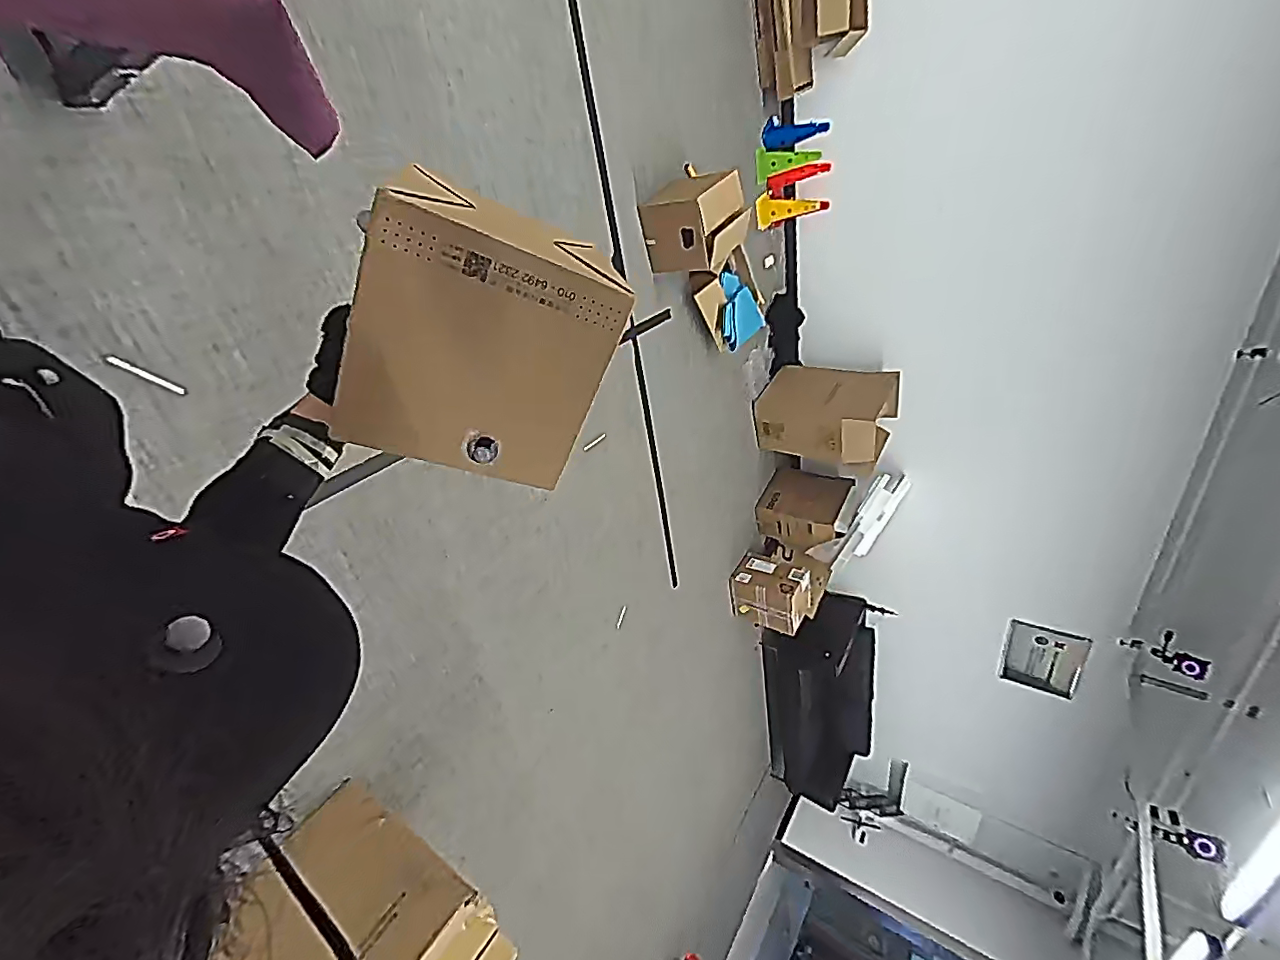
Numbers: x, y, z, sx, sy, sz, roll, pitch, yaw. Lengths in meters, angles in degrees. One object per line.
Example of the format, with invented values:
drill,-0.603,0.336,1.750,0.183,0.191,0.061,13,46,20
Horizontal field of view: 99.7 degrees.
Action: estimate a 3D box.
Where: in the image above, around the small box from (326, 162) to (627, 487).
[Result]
small box,-0.126,-0.126,0.429,0.168,0.179,0.176,15,119,-25
